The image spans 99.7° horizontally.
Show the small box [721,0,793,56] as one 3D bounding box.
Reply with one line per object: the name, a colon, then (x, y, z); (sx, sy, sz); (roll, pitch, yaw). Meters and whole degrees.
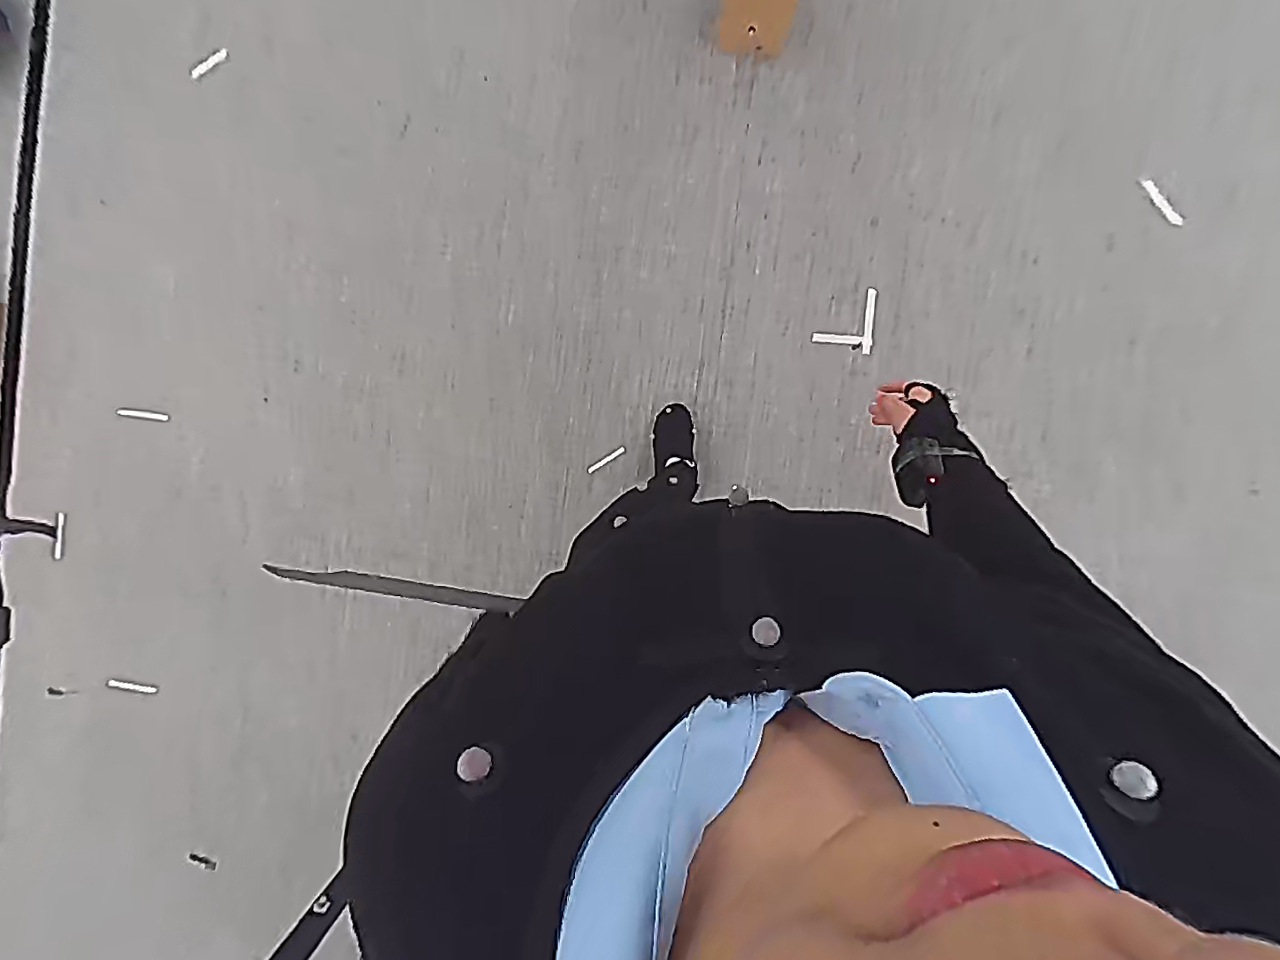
small box: (0.302, -1.217, 1.357); (0.168, 0.176, 0.179); (10, 92, 3)
